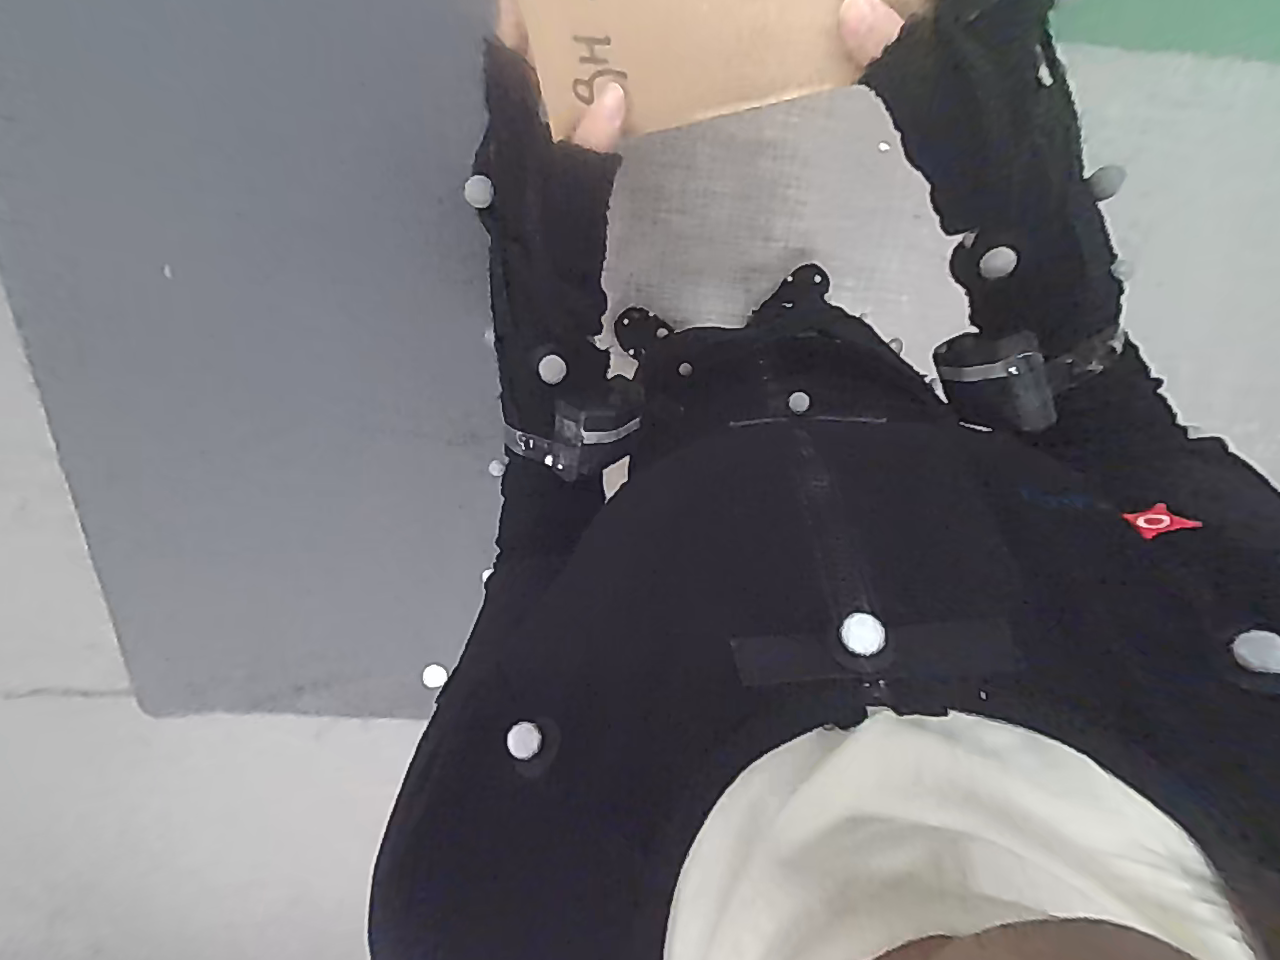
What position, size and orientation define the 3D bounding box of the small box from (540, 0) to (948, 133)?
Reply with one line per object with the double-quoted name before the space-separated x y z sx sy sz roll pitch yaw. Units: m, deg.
"small box" 0.034 -0.289 0.257 0.179 0.176 0.168 -9 131 4
